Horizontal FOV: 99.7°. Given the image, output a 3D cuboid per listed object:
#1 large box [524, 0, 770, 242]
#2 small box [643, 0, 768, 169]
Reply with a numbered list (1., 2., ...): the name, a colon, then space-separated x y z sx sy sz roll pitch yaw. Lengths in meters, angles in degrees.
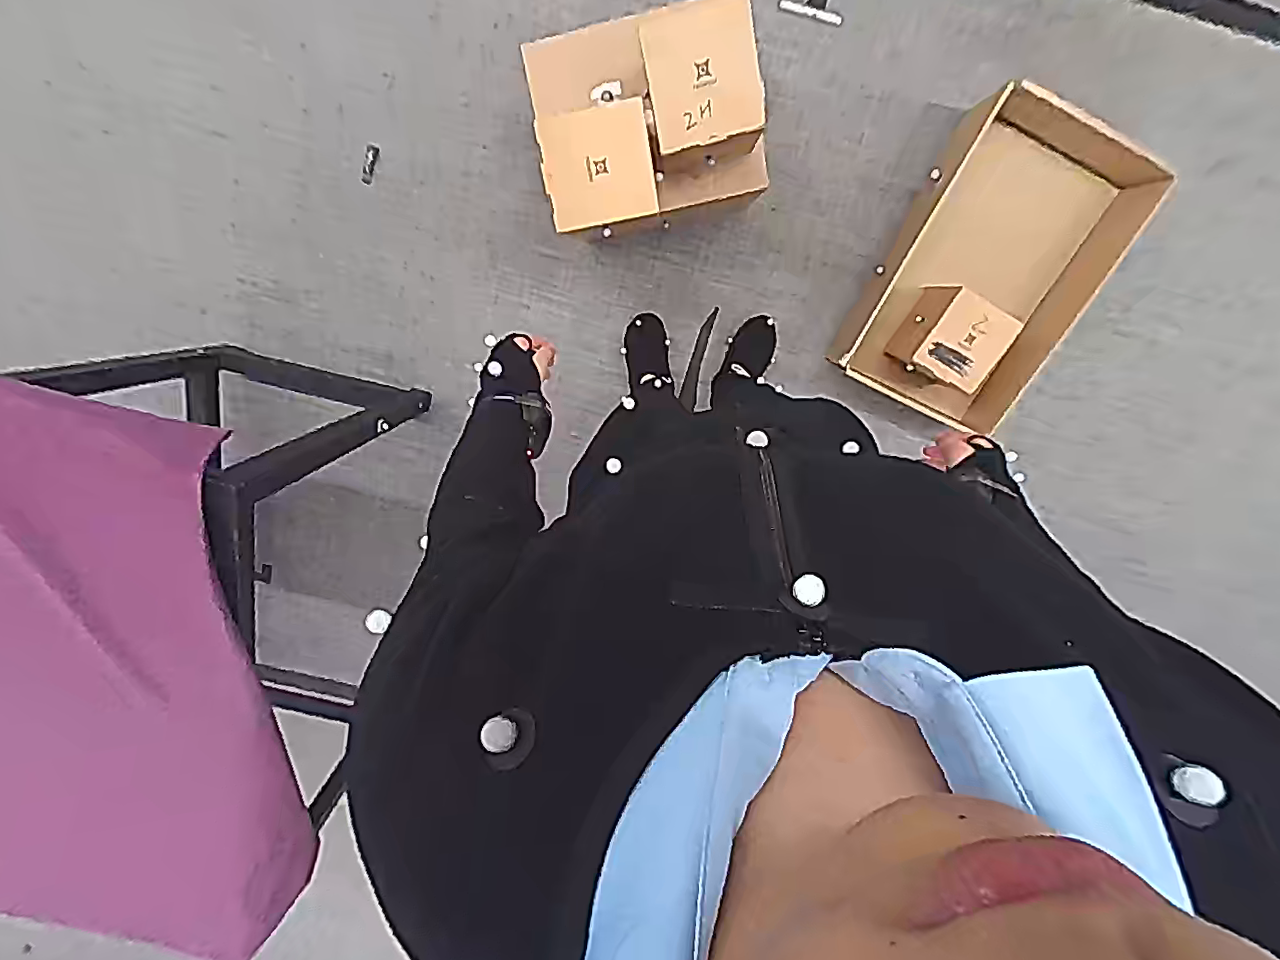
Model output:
1. large box: 0.029 -0.703 1.115 0.408 0.320 0.320 -10 109 8
2. small box: 0.103 -0.631 0.874 0.168 0.176 0.179 -10 110 8
